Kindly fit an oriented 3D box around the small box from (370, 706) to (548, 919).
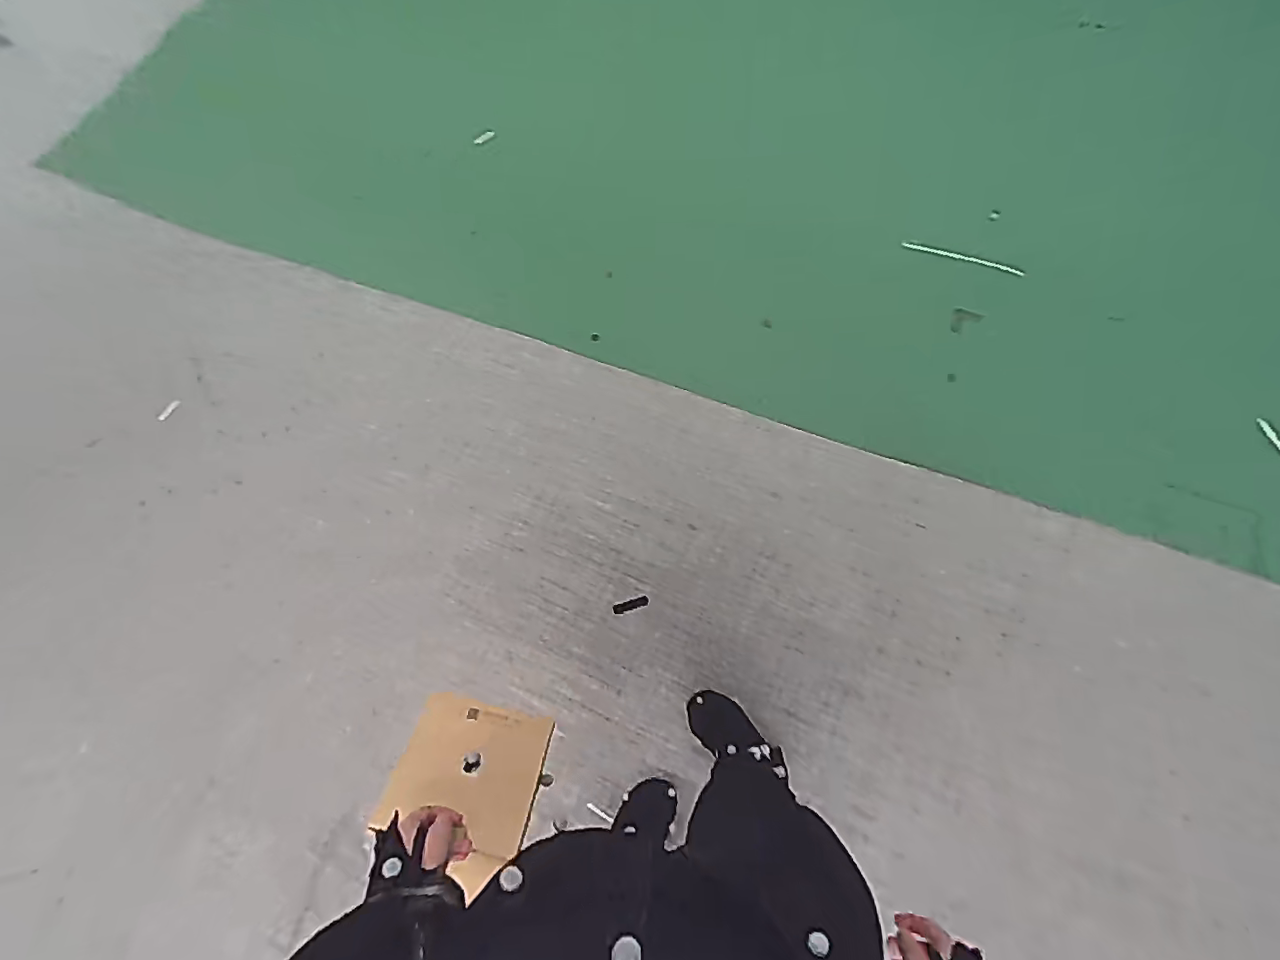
[{"bbox_3d":[-0.219,0.418,0.690,0.168,0.179,0.176,13,35,-3],"label":"small box"}]
